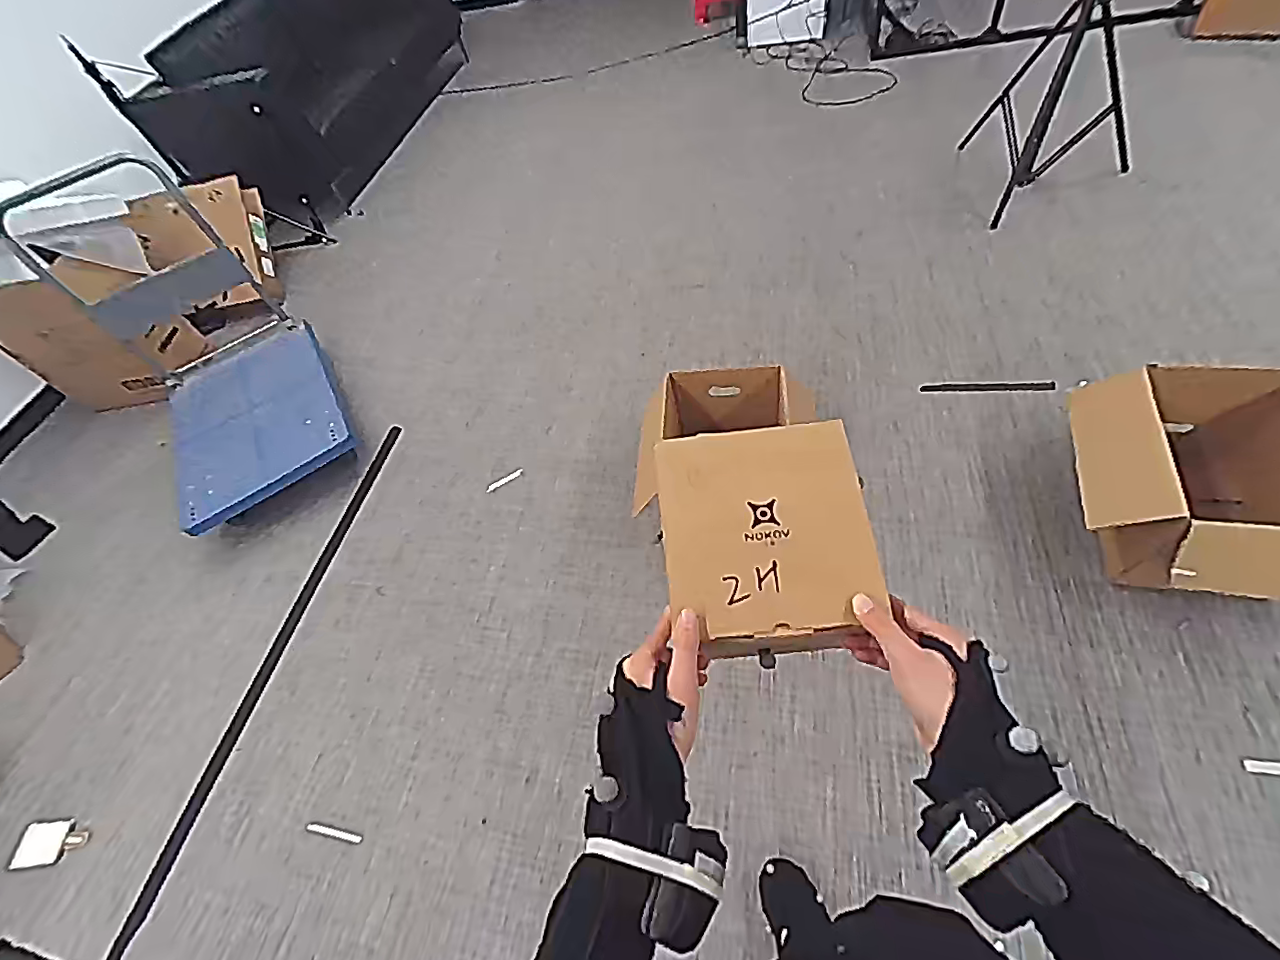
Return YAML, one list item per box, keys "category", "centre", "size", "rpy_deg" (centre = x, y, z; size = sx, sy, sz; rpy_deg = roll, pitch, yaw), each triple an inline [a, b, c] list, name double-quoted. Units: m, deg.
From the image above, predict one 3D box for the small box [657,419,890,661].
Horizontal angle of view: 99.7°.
- category: "small box"
  centre: [0.106, 0.066, 0.510]
  size: [0.168, 0.176, 0.179]
  rpy_deg: [-6, 65, 4]
